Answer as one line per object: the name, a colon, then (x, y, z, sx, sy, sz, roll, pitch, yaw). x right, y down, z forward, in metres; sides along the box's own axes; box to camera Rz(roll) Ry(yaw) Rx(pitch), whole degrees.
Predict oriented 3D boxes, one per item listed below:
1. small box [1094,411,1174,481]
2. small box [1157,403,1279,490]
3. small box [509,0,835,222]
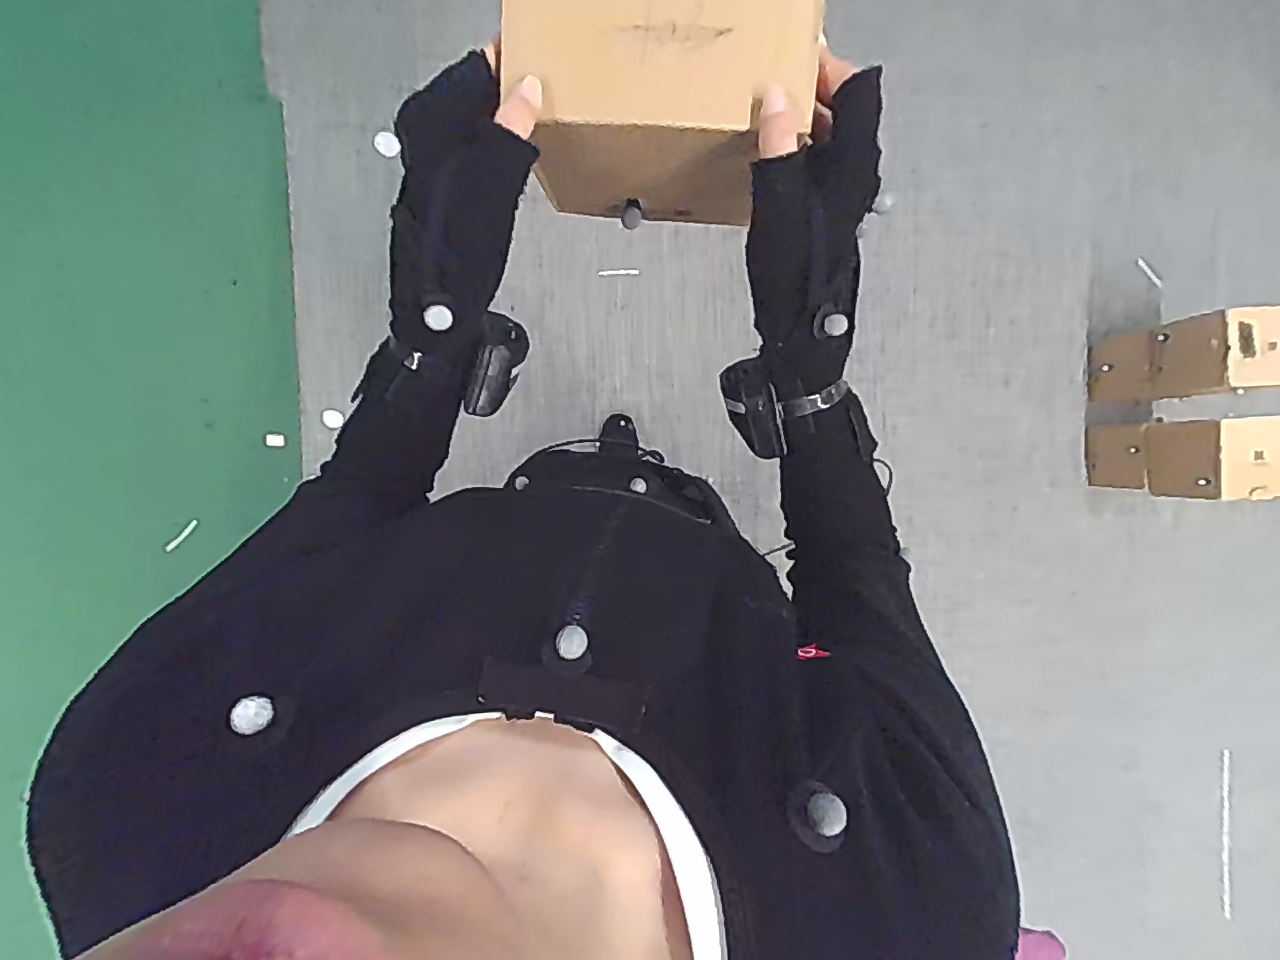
small box: (1.304, -0.088, 1.366, 0.179, 0.176, 0.168, -4, 93, 0)
small box: (1.307, -0.074, 1.203, 0.168, 0.176, 0.179, -4, 94, 1)
small box: (0.021, -0.287, 0.346, 0.168, 0.176, 0.179, 4, 101, 2)
